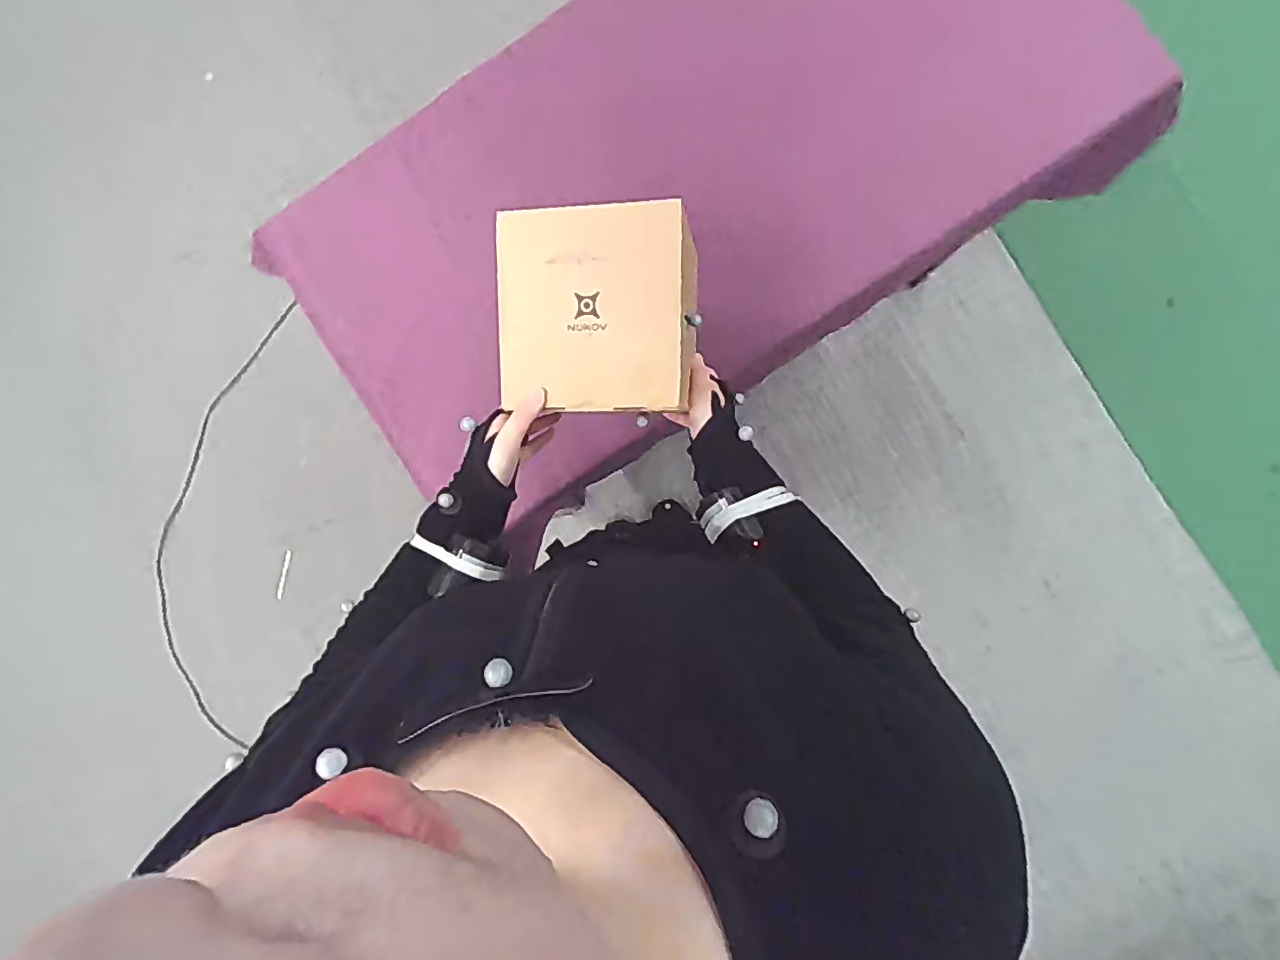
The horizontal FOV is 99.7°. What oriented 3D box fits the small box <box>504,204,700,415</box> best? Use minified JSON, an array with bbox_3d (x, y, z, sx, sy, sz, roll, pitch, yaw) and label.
[{"bbox_3d":[-0.028,-0.158,0.551,0.168,0.176,0.179,3,97,9],"label":"small box"}]
